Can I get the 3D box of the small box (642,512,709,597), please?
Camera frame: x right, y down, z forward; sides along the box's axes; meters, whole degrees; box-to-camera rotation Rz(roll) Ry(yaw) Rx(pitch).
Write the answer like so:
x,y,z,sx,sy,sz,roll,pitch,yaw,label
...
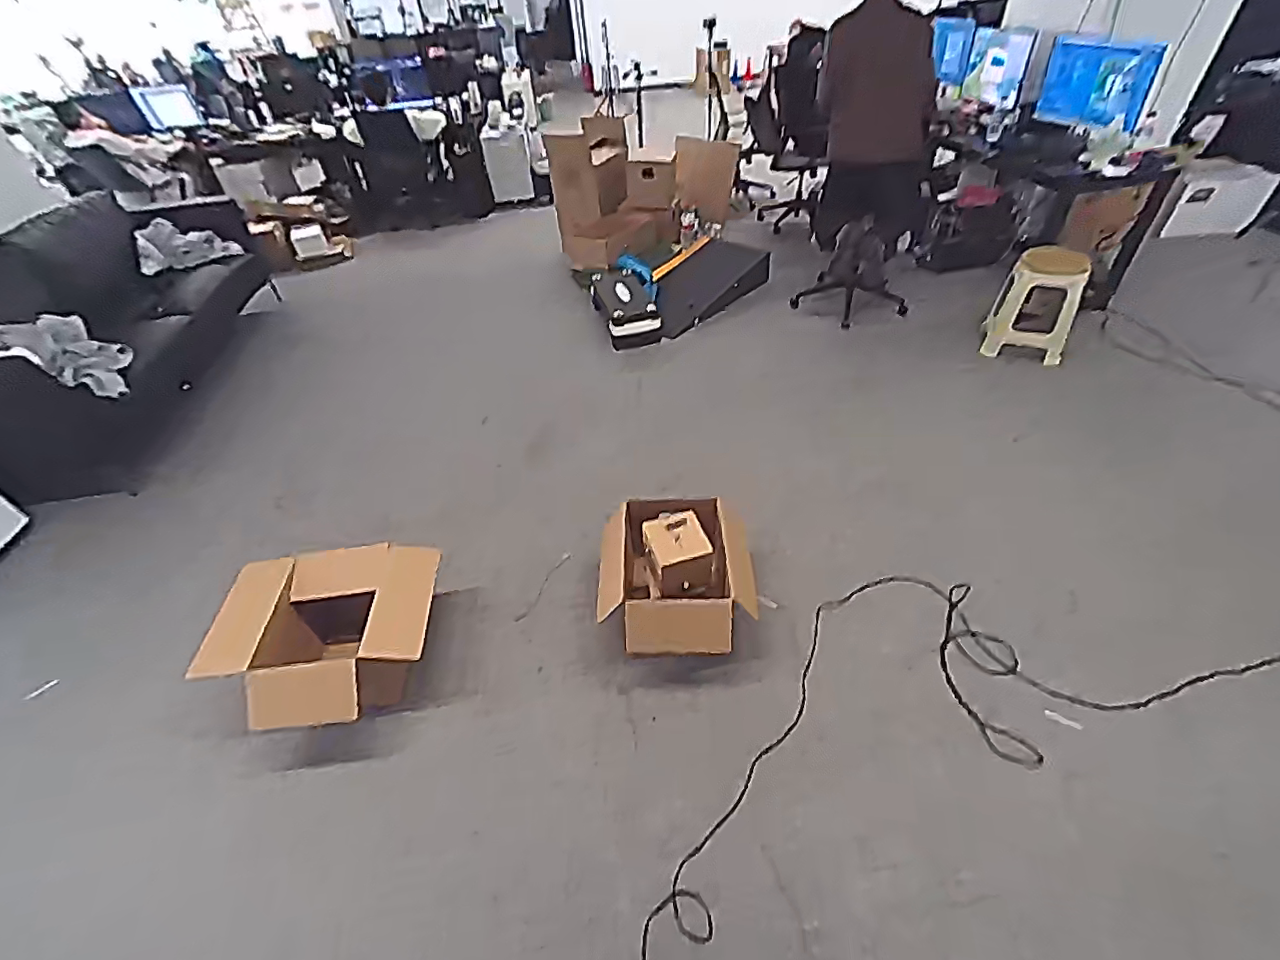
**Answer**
x,y,z,sx,sy,sz,roll,pitch,yaw,label
0.106,0.229,1.661,0.168,0.176,0.179,-12,43,-7,small box
